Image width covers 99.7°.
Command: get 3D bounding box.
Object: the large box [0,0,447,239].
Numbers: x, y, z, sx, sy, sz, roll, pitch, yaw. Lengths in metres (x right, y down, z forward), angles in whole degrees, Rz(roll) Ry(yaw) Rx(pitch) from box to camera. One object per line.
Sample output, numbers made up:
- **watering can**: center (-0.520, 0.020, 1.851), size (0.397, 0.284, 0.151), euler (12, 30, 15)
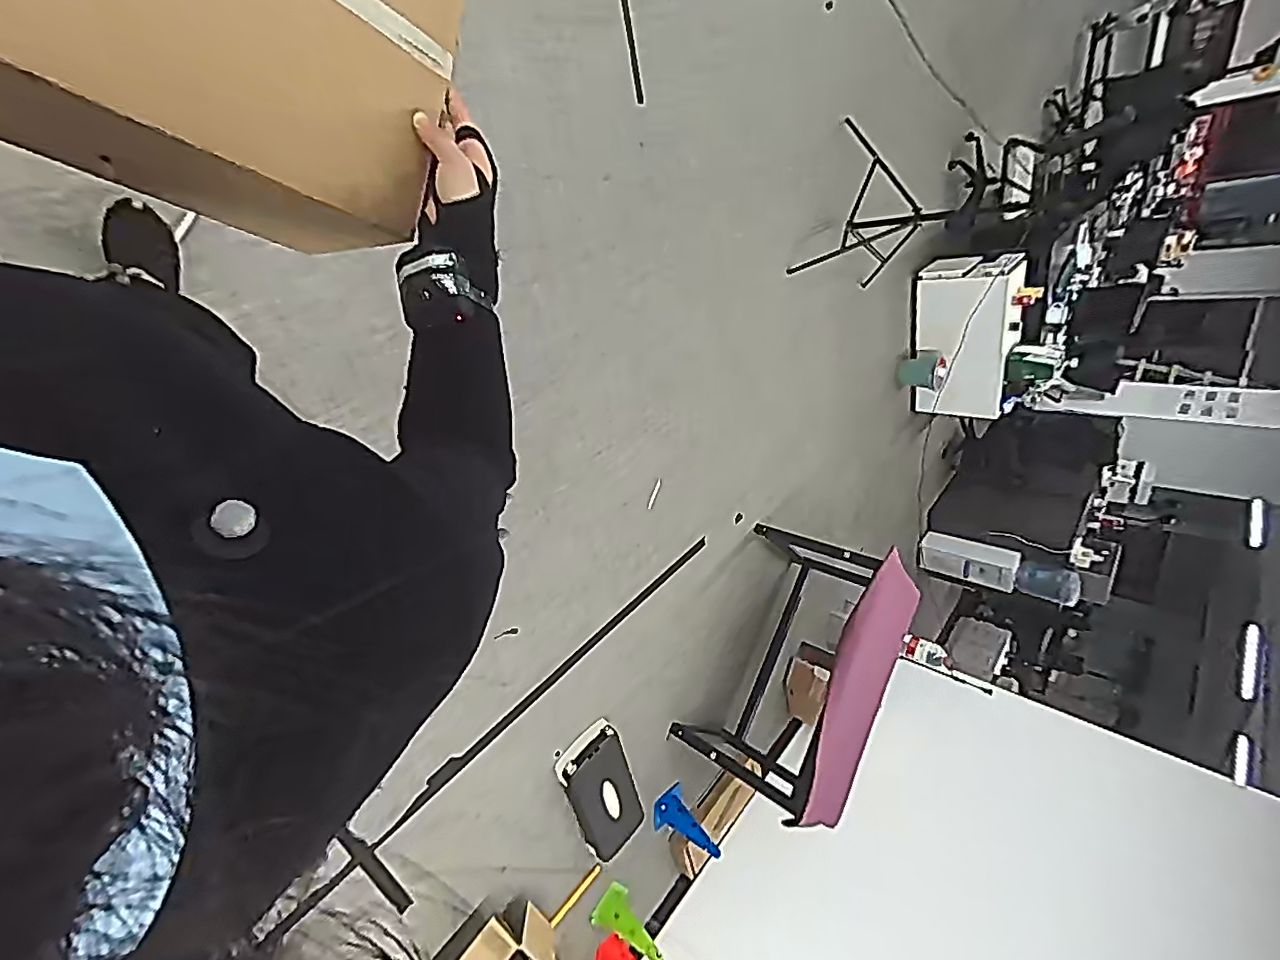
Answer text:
- **large box**: center (-0.427, -0.438, 0.454), size (0.408, 0.320, 0.320), euler (8, 97, -49)
